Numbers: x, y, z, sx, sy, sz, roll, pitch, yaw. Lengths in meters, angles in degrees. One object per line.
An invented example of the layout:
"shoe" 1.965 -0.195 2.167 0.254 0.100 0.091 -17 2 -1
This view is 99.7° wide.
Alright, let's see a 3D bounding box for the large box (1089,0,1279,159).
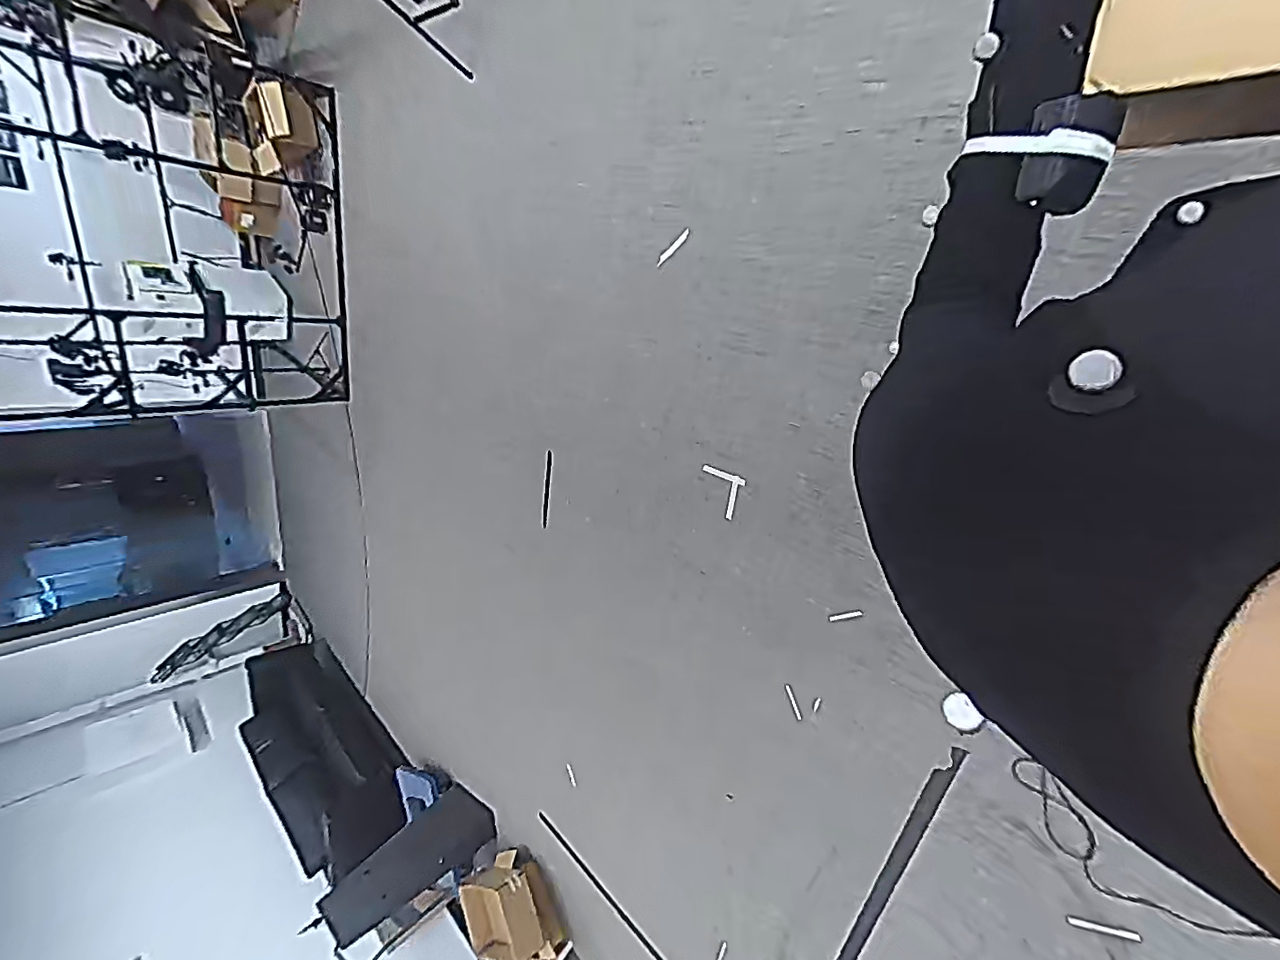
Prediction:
"large box" 0.546 -0.396 0.297 0.408 0.320 0.320 17 120 38
